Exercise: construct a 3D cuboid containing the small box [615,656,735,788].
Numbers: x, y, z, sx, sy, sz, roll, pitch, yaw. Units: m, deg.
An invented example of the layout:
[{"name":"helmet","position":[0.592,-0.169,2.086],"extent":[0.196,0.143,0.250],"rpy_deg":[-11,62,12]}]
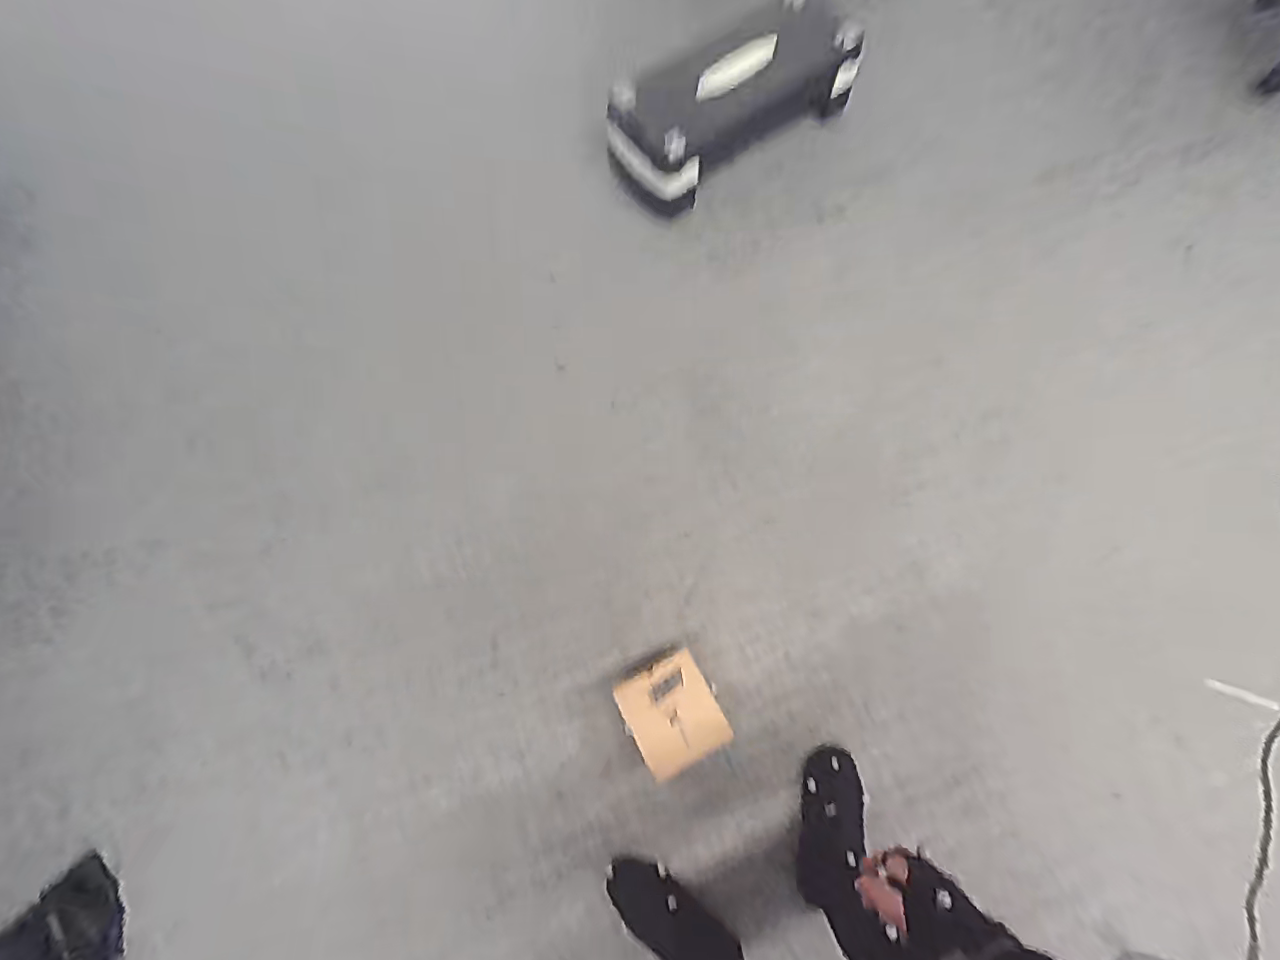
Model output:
[{"name":"small box","position":[0.065,0.468,1.075],"extent":[0.168,0.176,0.179],"rpy_deg":[-29,75,-6]}]
